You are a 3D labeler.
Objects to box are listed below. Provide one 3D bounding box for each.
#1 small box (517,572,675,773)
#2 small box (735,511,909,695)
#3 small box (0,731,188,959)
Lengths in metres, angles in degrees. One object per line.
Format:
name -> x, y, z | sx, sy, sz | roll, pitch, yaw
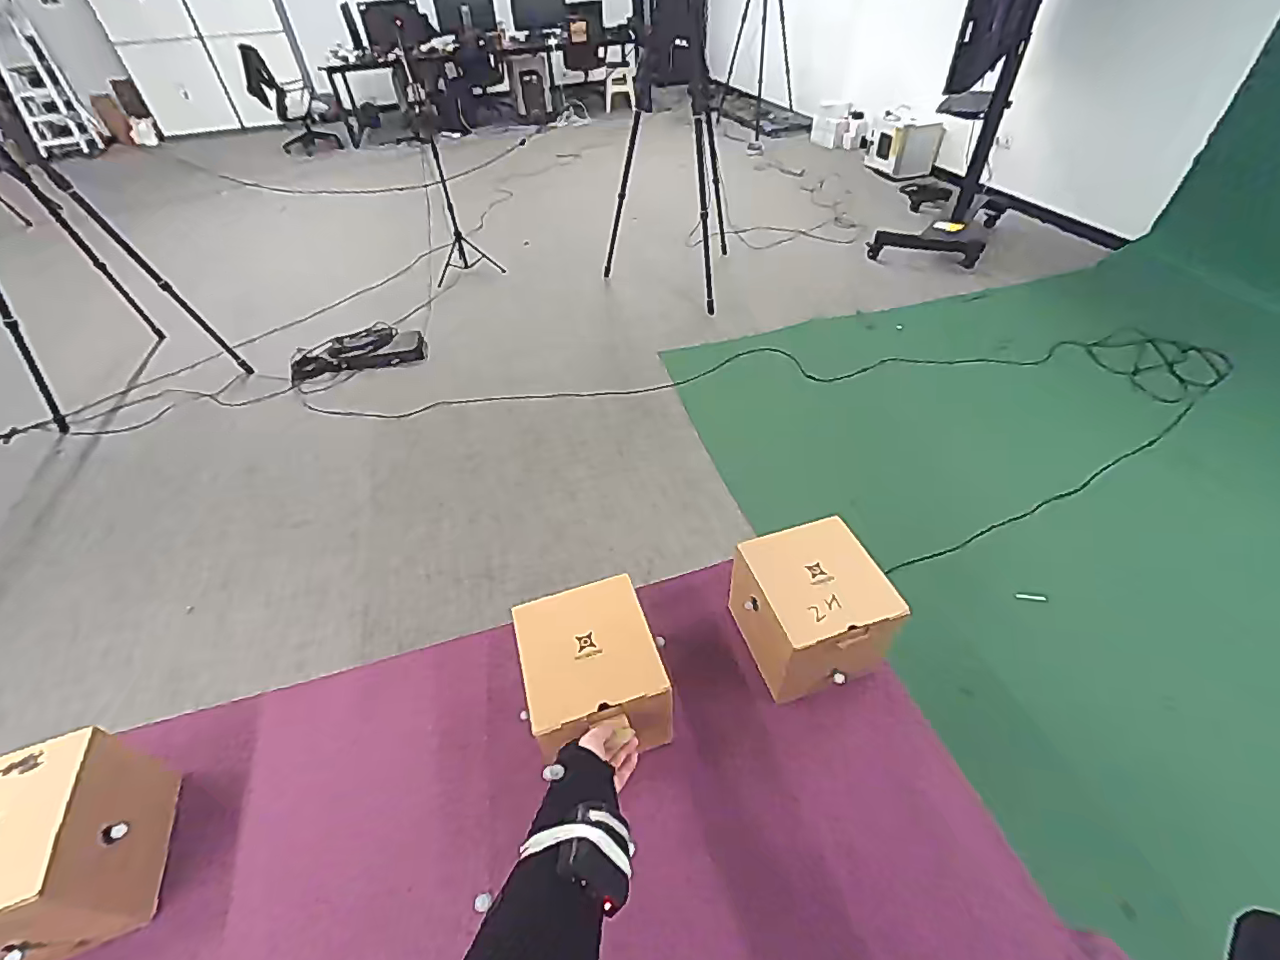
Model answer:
small box -> -0.059, 0.260, 0.734 | 0.168, 0.176, 0.179 | -16, 47, -10
small box -> 0.246, 0.178, 0.785 | 0.168, 0.176, 0.179 | -15, 46, -9
small box -> -0.667, 0.428, 0.617 | 0.168, 0.176, 0.179 | -17, 47, -13
